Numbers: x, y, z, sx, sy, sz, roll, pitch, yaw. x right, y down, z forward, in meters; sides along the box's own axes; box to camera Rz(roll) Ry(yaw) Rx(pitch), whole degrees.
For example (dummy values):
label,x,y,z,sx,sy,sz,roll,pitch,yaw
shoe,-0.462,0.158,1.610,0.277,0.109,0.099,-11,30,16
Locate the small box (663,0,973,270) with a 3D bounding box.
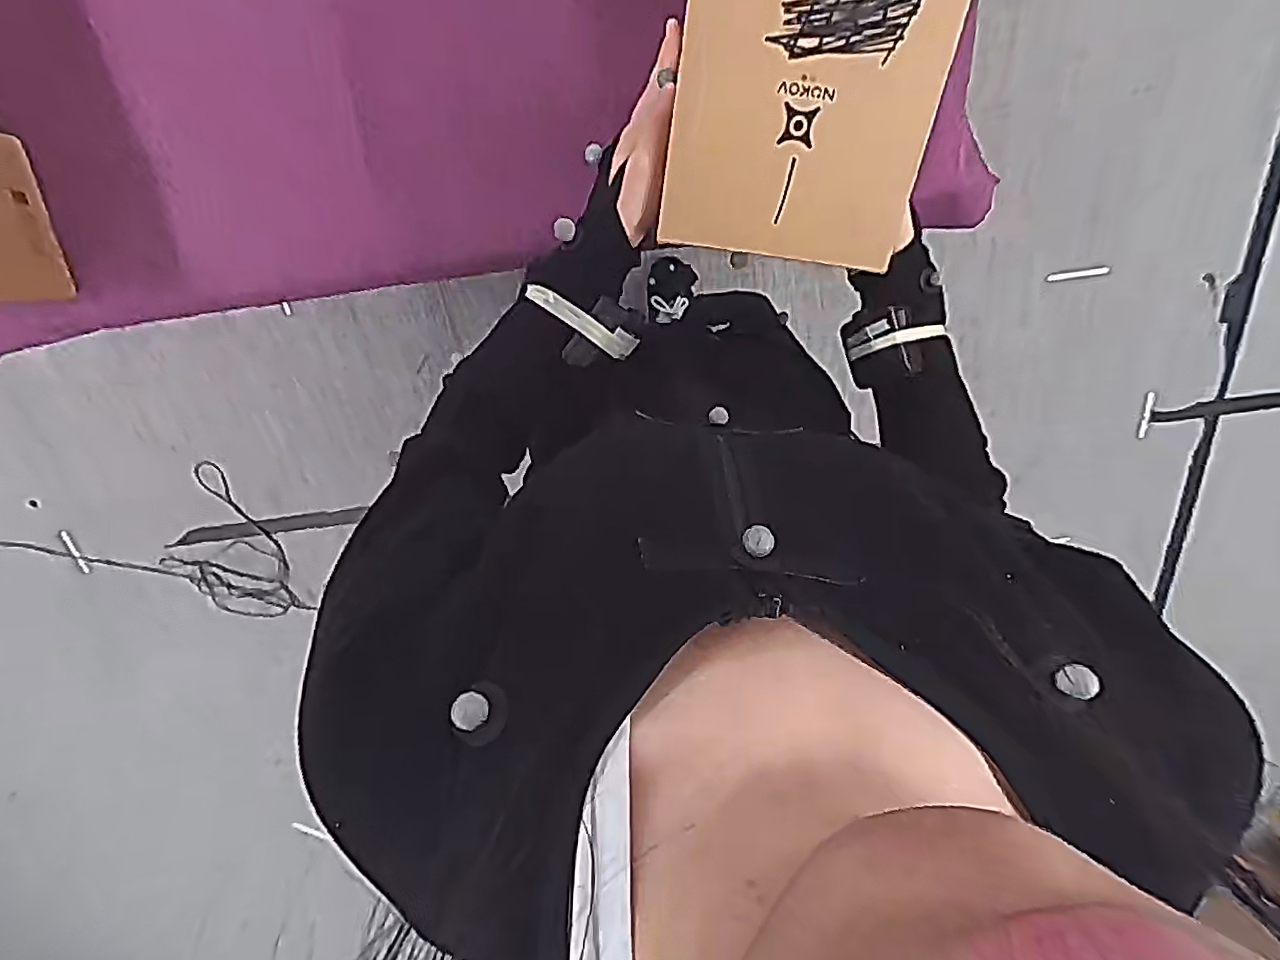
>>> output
label,x,y,z,sx,sy,sz,roll,pitch,yaw
small box,0.110,-0.272,0.418,0.168,0.176,0.179,8,116,-2
